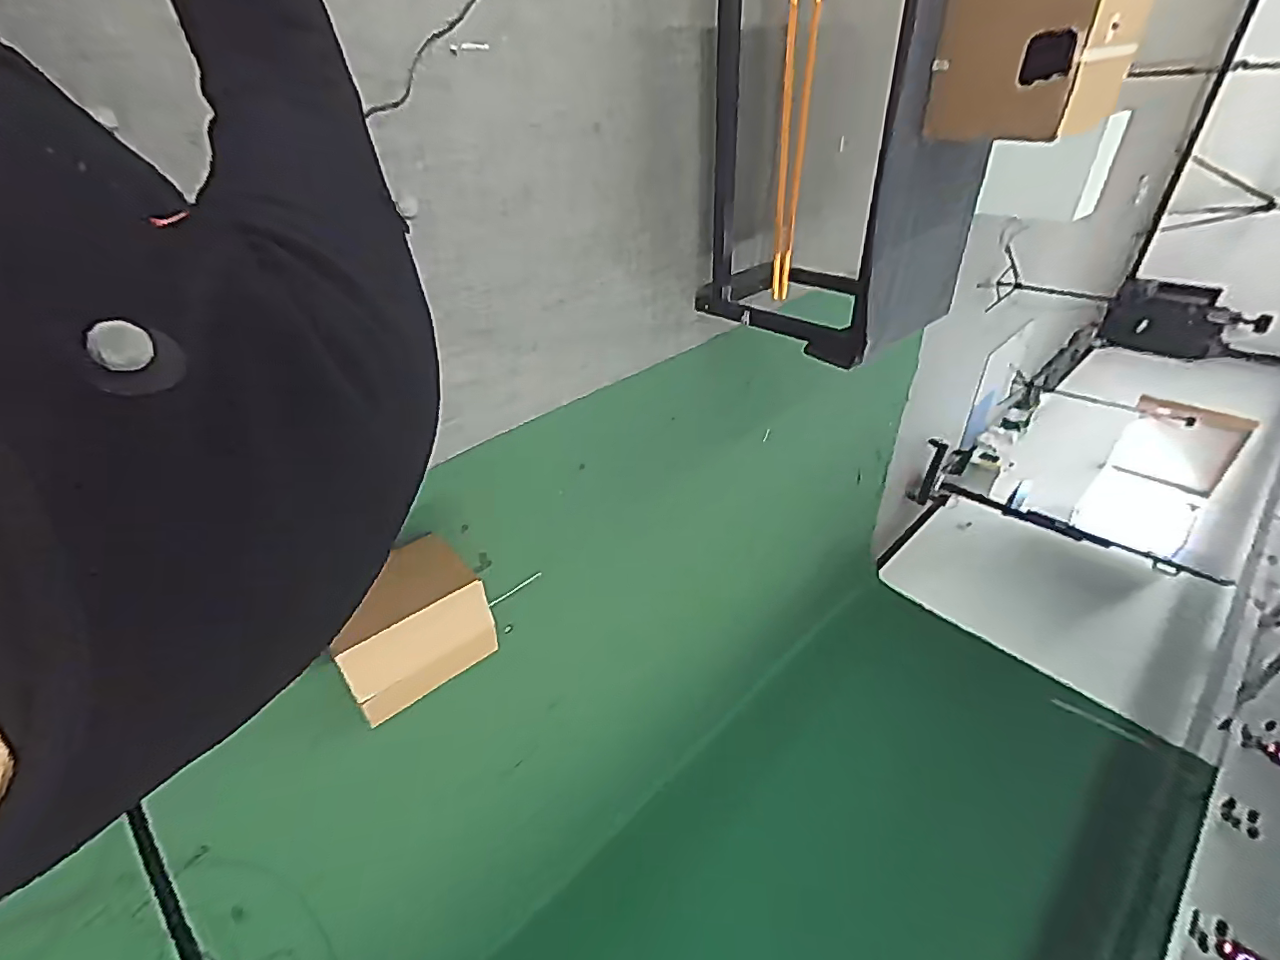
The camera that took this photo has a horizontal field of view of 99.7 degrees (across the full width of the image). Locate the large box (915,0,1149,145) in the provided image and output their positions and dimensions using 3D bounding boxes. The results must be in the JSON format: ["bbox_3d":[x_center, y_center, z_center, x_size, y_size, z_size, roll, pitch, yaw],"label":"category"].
[{"bbox_3d":[0.946,-1.026,1.315,0.408,0.320,0.320,-30,132,-30],"label":"large box"}]
